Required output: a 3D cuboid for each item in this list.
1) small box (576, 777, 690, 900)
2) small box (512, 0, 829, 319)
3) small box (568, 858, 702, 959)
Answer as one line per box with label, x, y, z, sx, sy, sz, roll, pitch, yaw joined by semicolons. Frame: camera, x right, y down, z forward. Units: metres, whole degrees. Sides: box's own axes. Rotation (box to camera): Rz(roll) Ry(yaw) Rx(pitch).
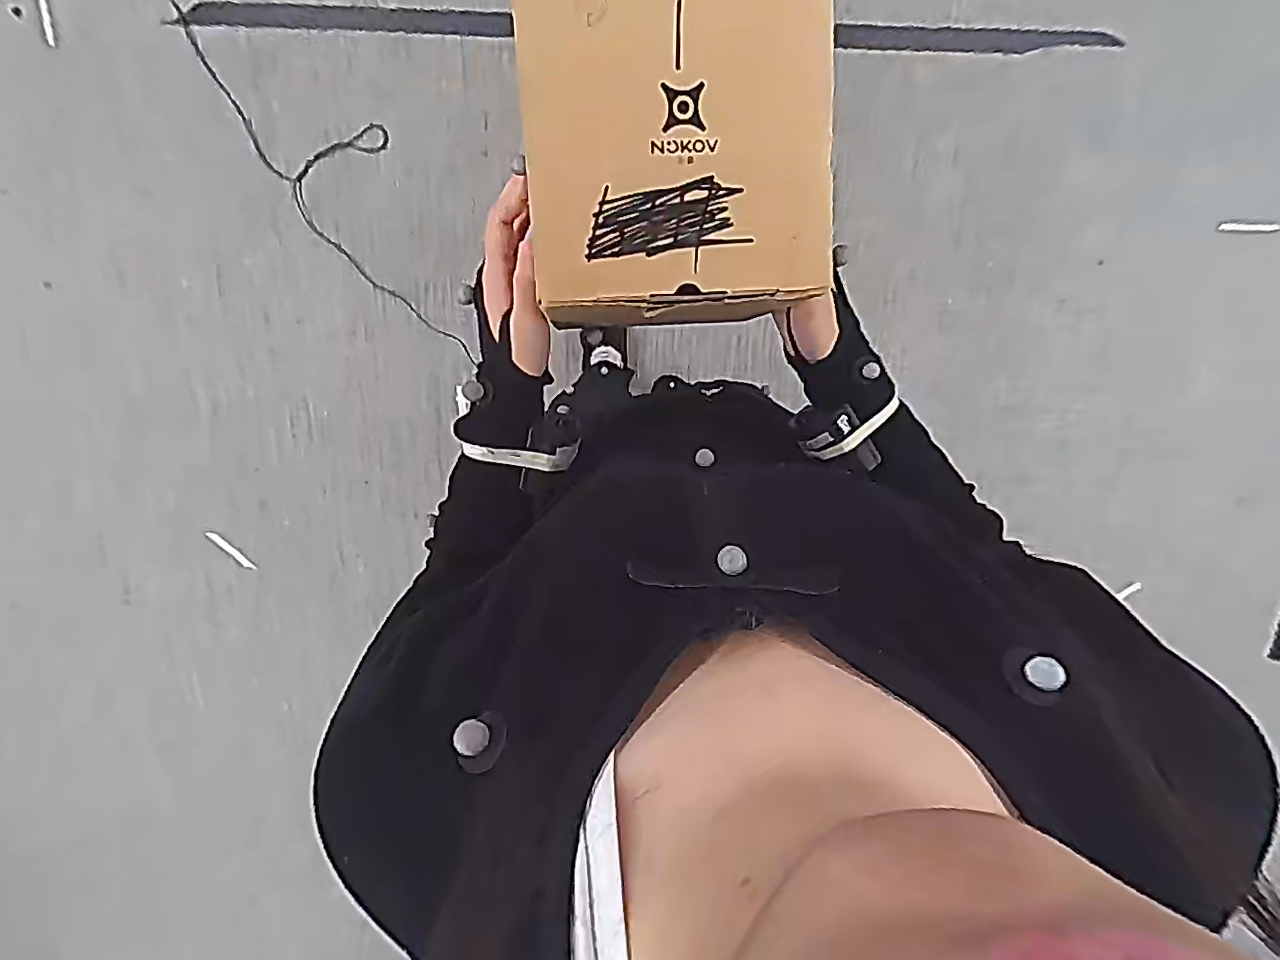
small box;-0.014;0.643;0.934;0.179;0.176;0.168;4;103;-2
small box;0.013;-0.205;0.365;0.168;0.176;0.179;-4;100;-5
small box;-0.012;0.682;0.777;0.179;0.176;0.168;4;103;-2
